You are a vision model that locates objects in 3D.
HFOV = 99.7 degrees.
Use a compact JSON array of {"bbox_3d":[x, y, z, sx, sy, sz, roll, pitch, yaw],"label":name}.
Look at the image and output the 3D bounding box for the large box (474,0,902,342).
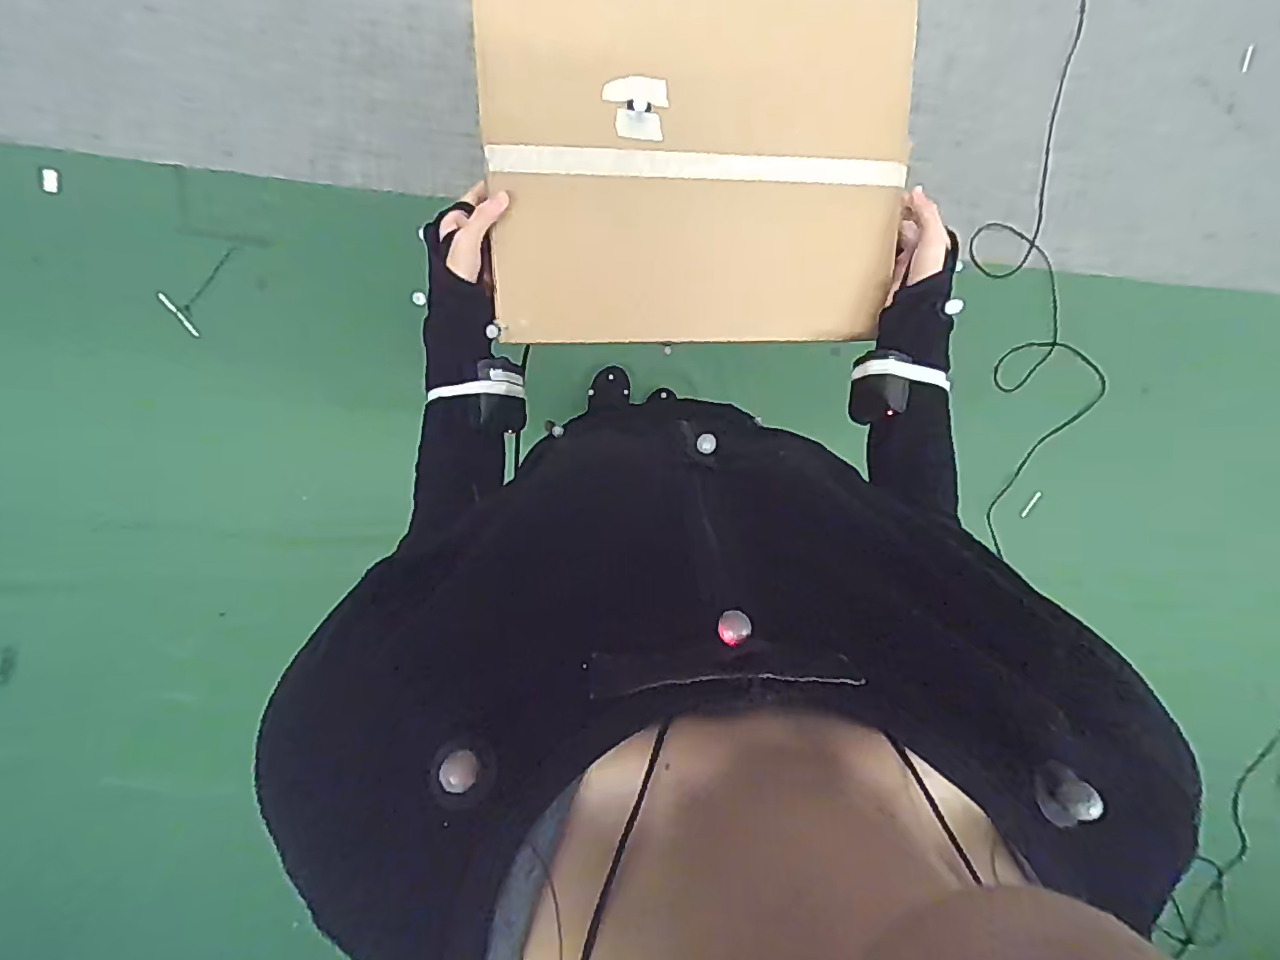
[{"bbox_3d":[0.035,-0.336,0.665,0.408,0.320,0.320,-3,105,-9],"label":"large box"}]
